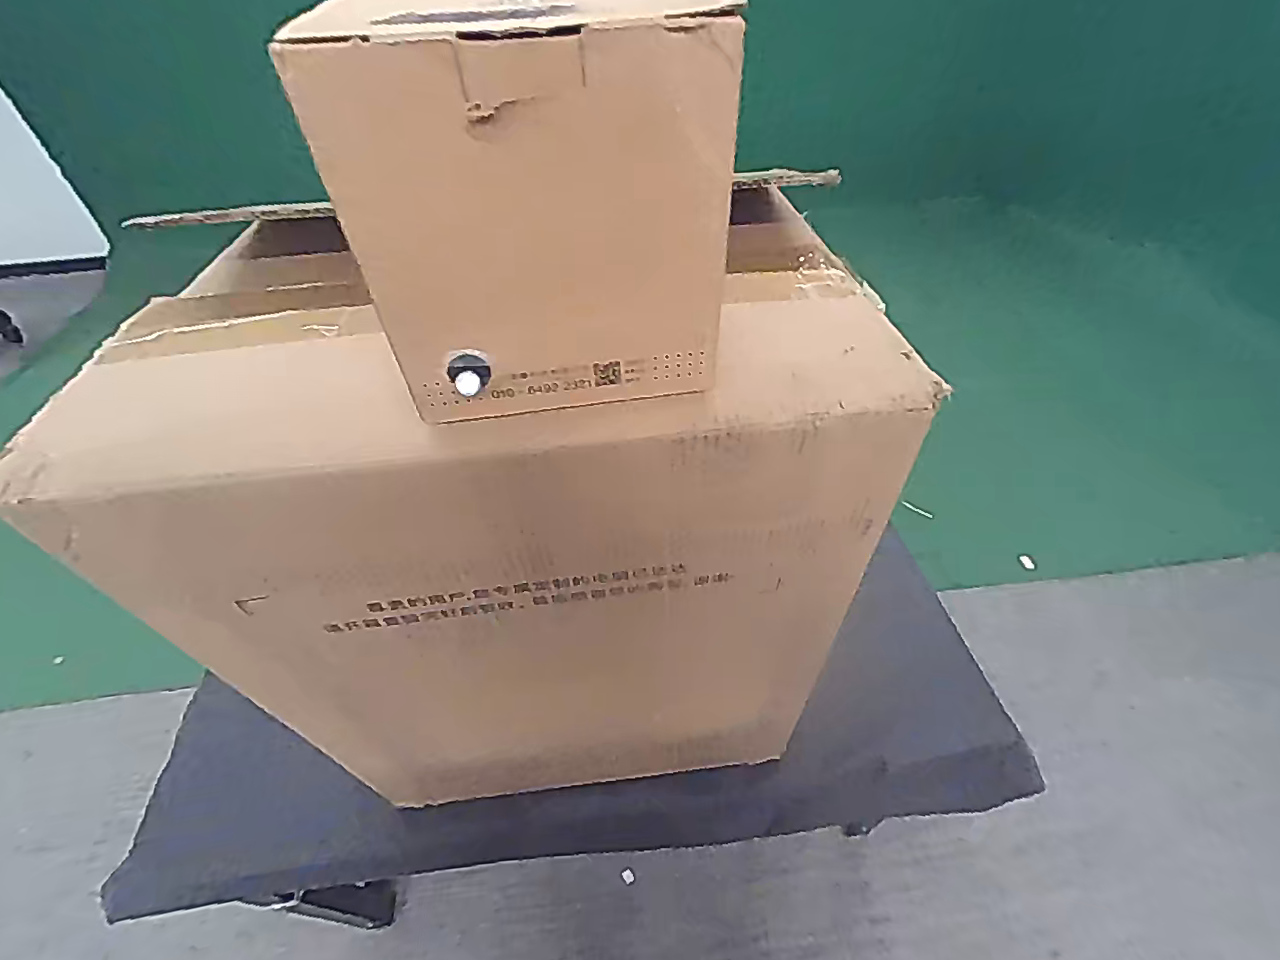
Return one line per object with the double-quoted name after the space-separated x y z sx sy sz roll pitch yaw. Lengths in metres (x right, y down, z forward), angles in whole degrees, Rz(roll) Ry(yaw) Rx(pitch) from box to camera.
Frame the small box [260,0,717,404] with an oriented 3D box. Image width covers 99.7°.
-0.059 -0.155 0.303 0.168 0.176 0.179 -7 47 -5 "small box"
